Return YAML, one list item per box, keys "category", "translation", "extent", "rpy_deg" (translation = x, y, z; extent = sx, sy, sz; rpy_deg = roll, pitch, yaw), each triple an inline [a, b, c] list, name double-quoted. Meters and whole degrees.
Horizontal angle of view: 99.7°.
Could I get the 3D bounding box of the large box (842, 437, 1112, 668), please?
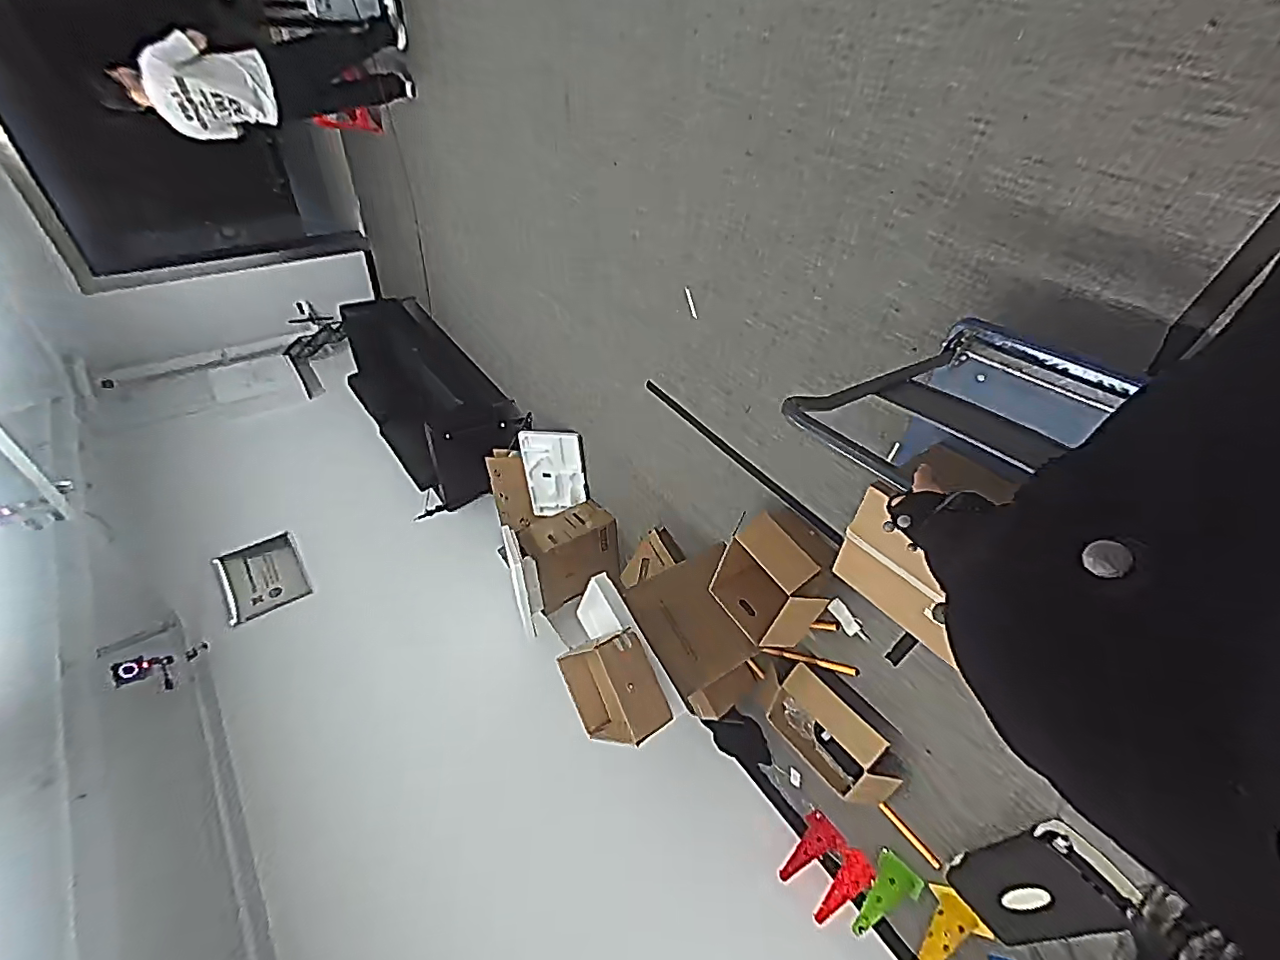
- category: "large box"
  translation: [0.781, 0.152, 1.305]
  extent: [0.408, 0.320, 0.320]
  rpy_deg: [41, 143, 35]
